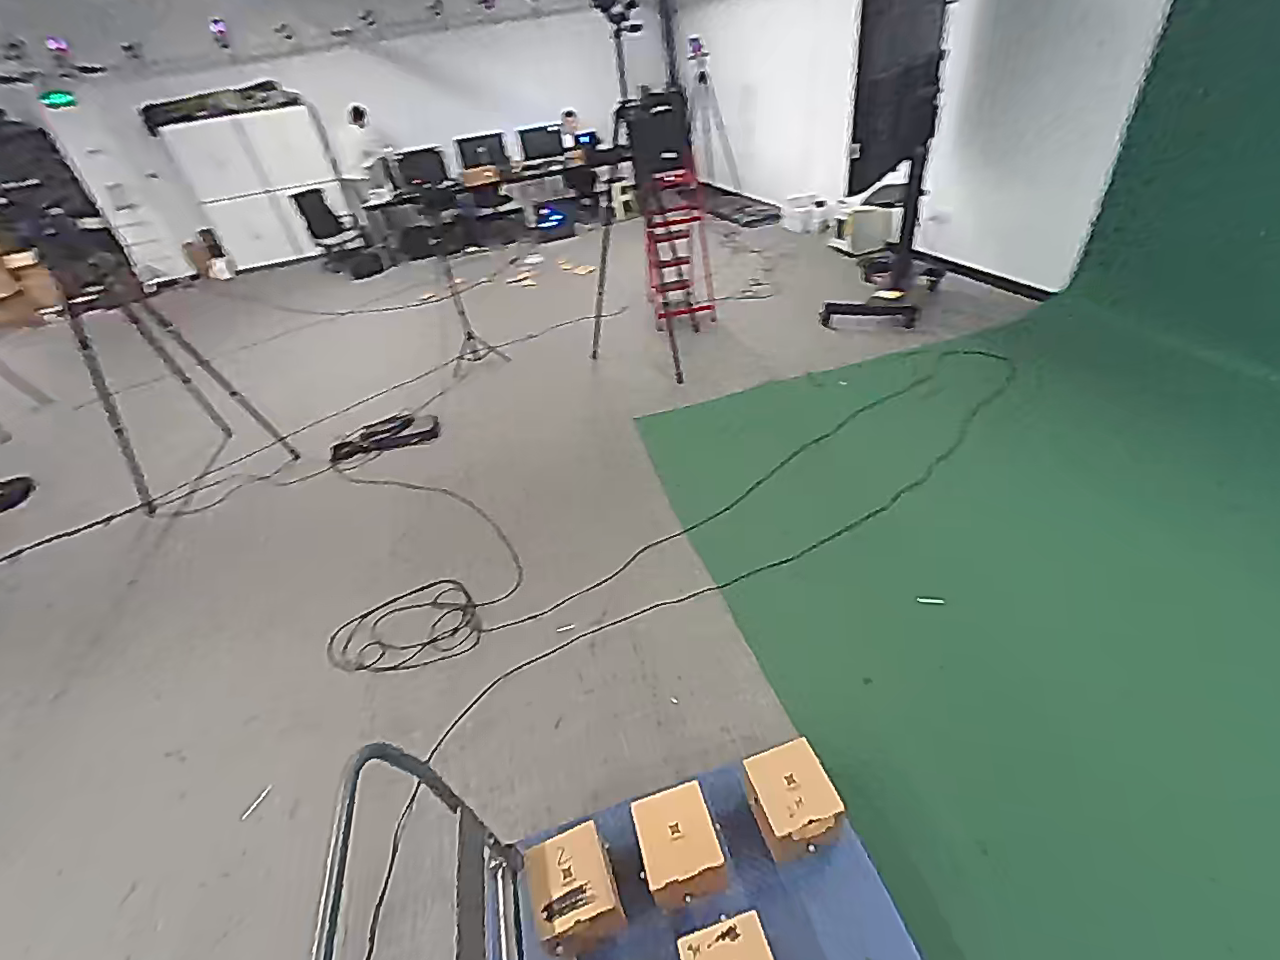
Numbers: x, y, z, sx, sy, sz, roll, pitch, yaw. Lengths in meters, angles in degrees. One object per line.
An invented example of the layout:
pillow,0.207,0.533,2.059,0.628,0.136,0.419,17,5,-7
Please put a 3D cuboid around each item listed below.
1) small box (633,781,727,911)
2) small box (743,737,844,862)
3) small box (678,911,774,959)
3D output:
small box,0.090,0.834,1.234,0.168,0.176,0.179,-15,39,-8
small box,0.354,0.753,1.275,0.168,0.176,0.179,-17,38,-8
small box,0.182,0.972,1.028,0.168,0.176,0.179,-15,38,-8
